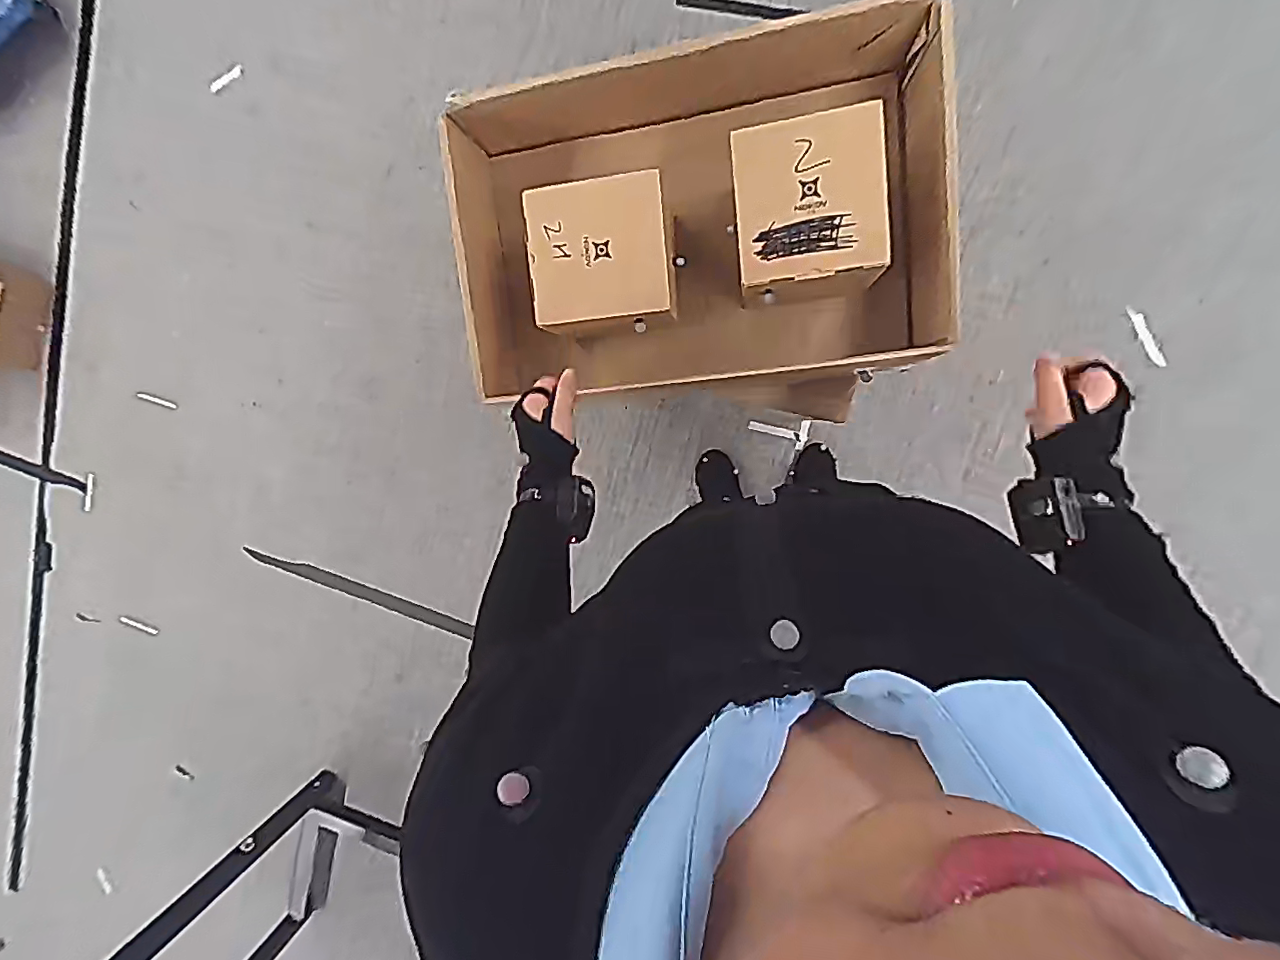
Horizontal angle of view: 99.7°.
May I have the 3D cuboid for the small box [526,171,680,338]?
[{"bbox_3d":[-0.038,-0.294,0.743,0.179,0.176,0.168,-3,97,11],"label":"small box"}]
